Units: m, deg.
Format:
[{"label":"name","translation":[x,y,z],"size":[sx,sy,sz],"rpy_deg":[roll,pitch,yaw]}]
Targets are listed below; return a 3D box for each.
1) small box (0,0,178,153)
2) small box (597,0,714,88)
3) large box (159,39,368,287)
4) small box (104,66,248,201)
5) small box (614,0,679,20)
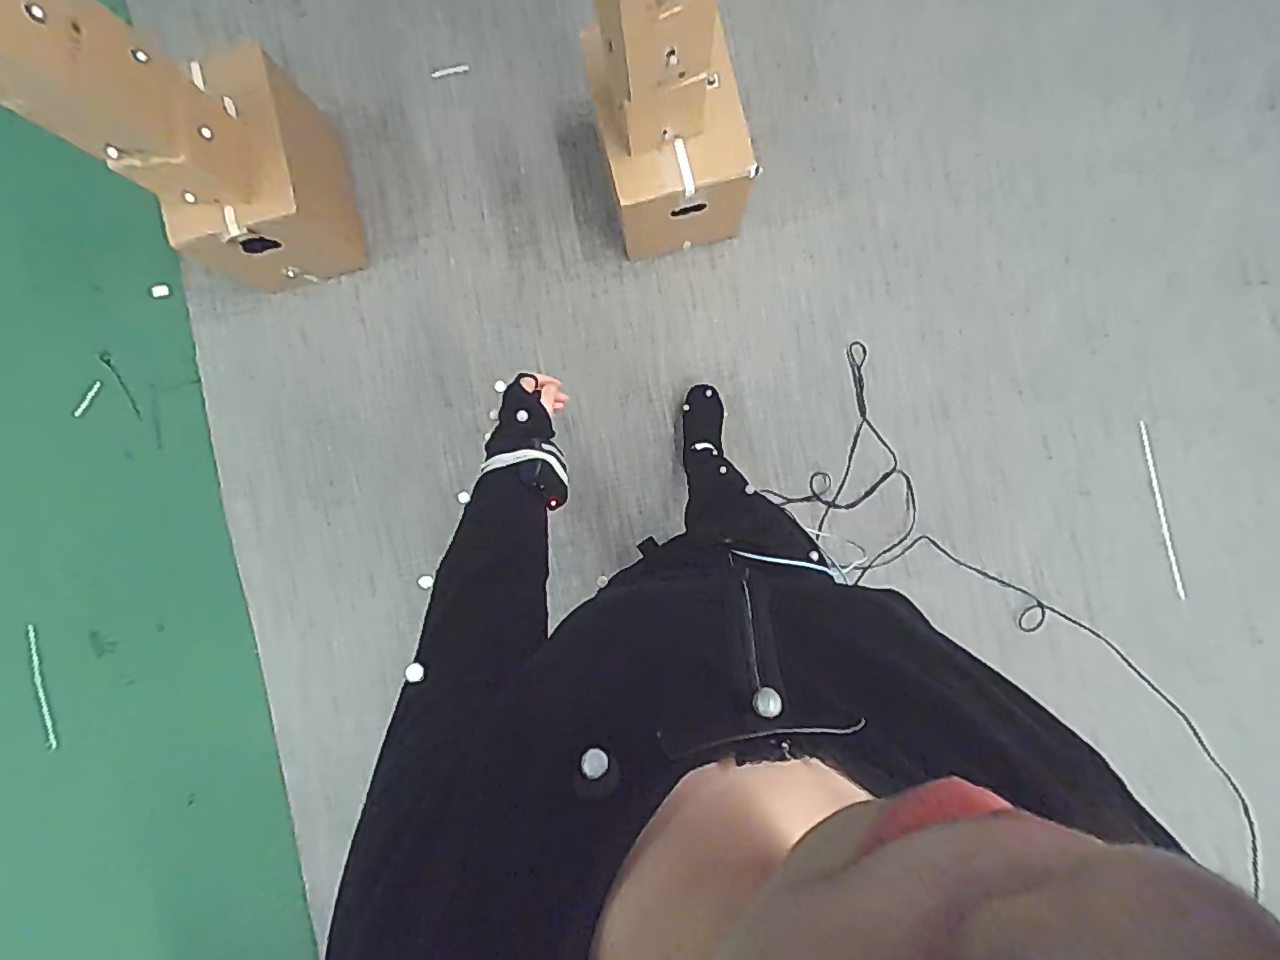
[{"label":"small box","translation":[-0.976,-0.722,0.968],"size":[0.168,0.176,0.179],"rpy_deg":[1,92,4]},{"label":"small box","translation":[0.023,-0.820,0.926],"size":[0.168,0.176,0.179],"rpy_deg":[-21,90,3]},{"label":"large box","translation":[-0.956,-0.768,1.373],"size":[0.320,0.320,0.408],"rpy_deg":[-13,89,2]},{"label":"small box","translation":[-0.961,-0.715,1.130],"size":[0.168,0.176,0.179],"rpy_deg":[-2,91,3]},{"label":"small box","translation":[0.013,-0.820,0.761],"size":[0.168,0.176,0.179],"rpy_deg":[-22,90,4]}]
